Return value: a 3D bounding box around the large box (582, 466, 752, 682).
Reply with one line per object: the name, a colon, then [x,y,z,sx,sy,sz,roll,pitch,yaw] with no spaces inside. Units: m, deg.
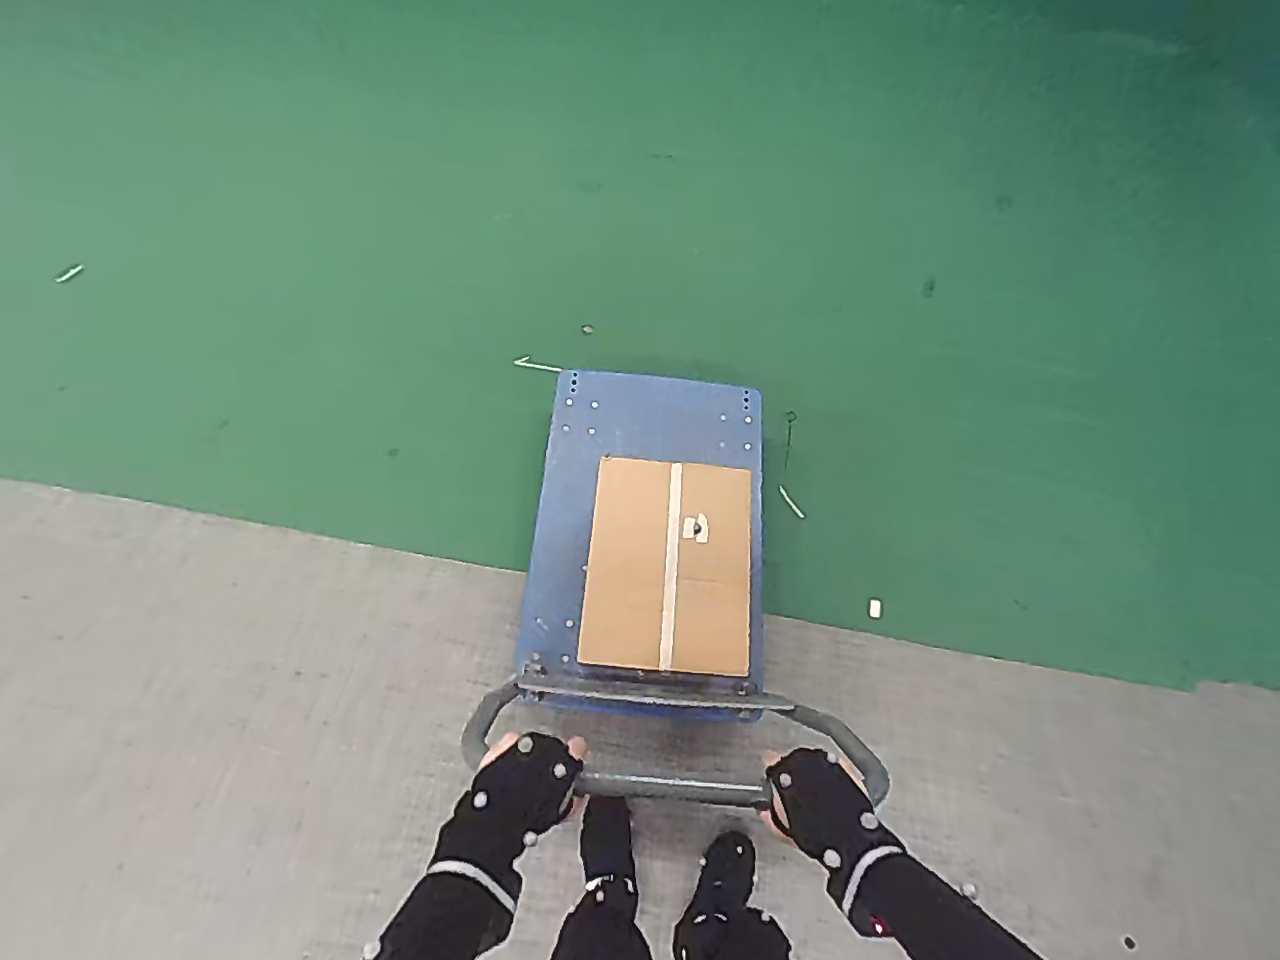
large box: [0.050,0.221,1.177,0.320,0.320,0.408,5,69,-3]
